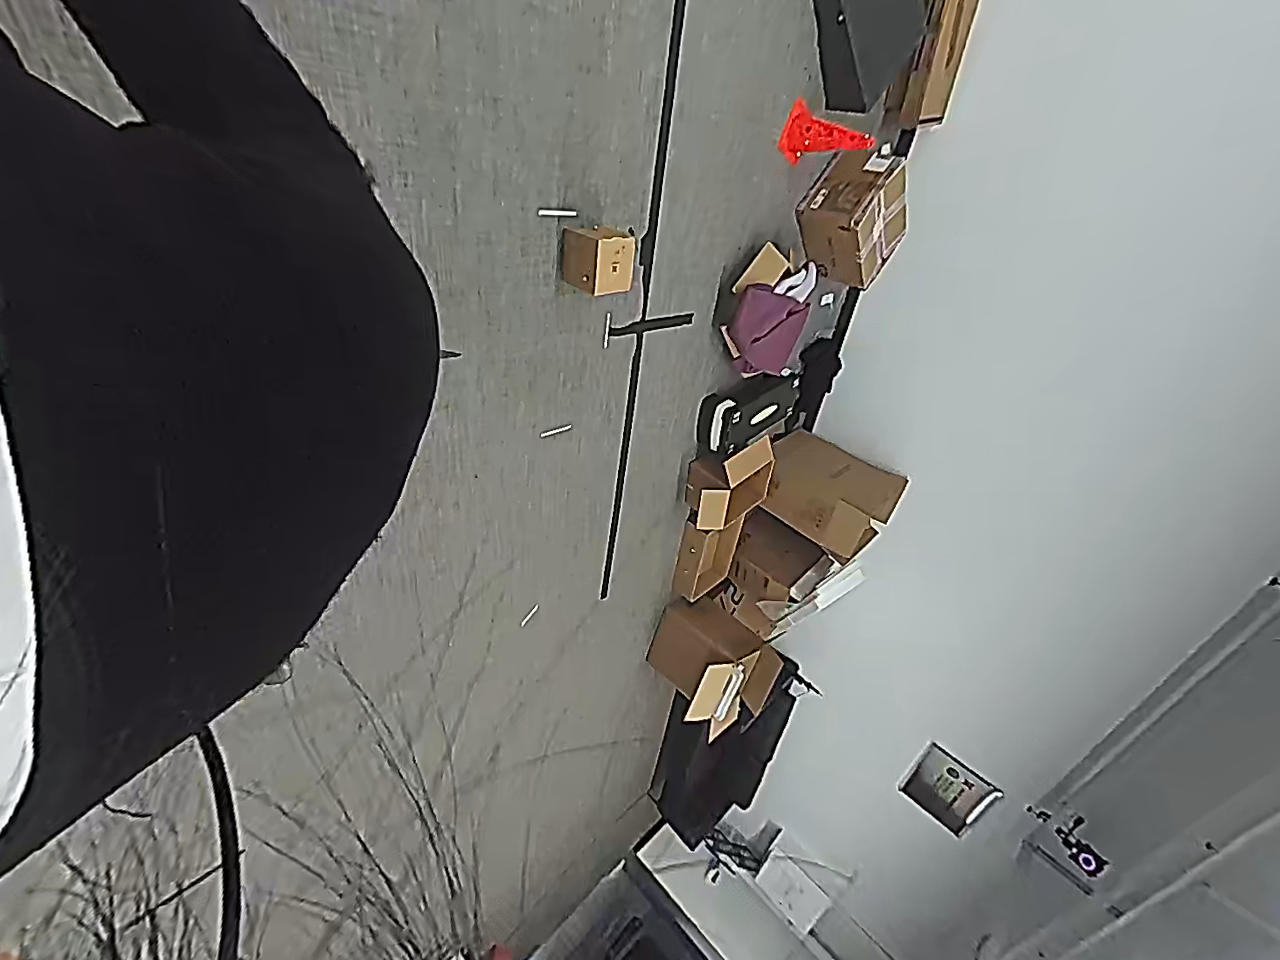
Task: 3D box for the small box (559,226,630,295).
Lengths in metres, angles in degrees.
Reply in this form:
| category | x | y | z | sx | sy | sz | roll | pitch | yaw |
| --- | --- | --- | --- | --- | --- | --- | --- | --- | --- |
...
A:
| category | x | y | z | sx | sy | sz | roll | pitch | yaw |
| --- | --- | --- | --- | --- | --- | --- | --- | --- | --- |
| small box | -0.157 | -0.738 | 1.805 | 0.168 | 0.176 | 0.179 | -26 | 136 | -40 |
